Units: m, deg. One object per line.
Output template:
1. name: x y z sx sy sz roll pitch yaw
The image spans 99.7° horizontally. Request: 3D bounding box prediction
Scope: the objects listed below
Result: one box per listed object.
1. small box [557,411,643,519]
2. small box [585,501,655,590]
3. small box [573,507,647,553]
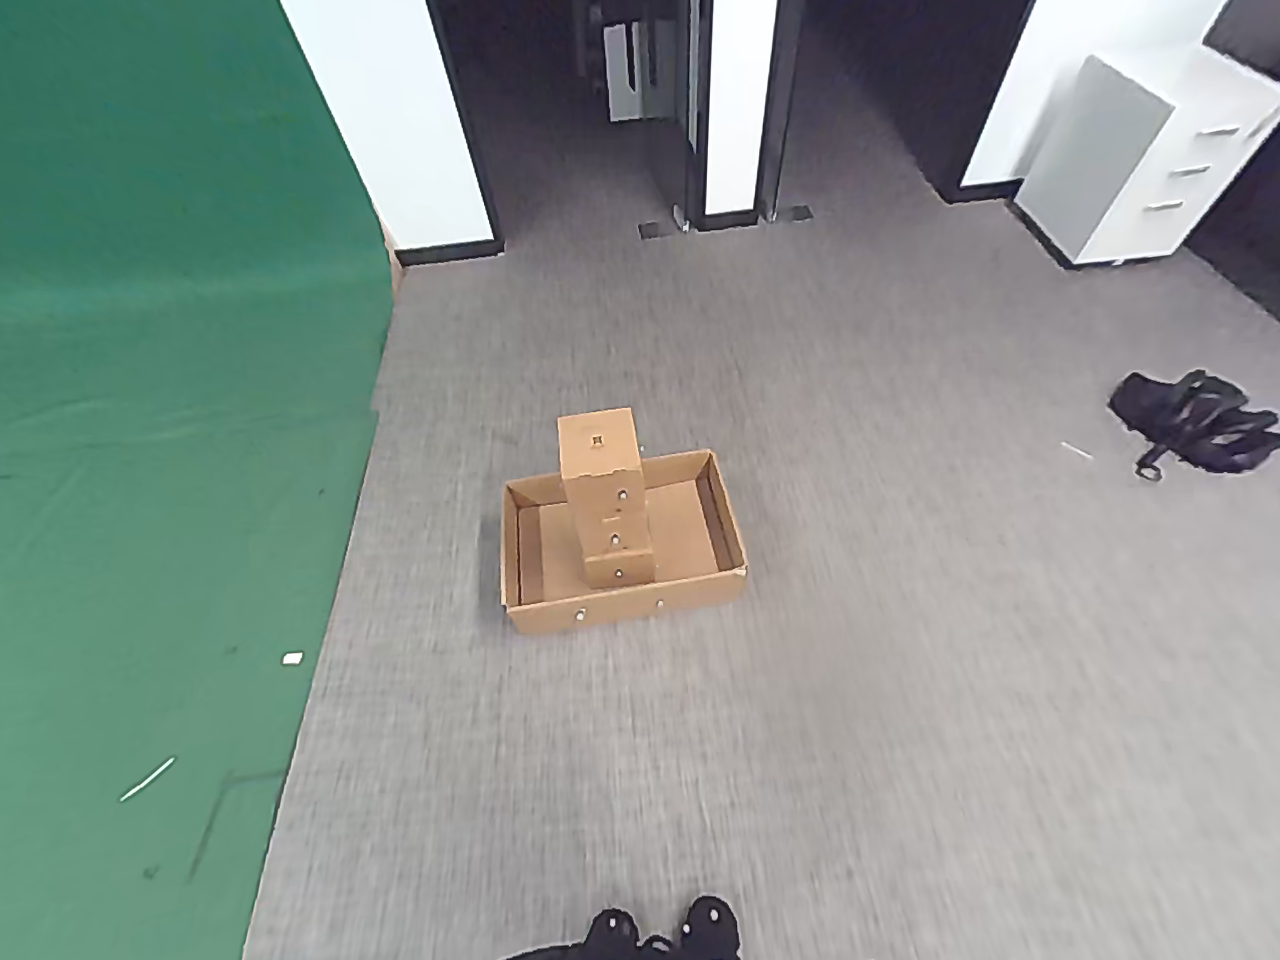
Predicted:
1. small box: -0.088 -0.026 1.210 0.168 0.176 0.179 -8 52 -3
2. small box: -0.057 0.179 1.461 0.179 0.176 0.168 -9 53 -3
3. small box: -0.076 0.069 1.342 0.168 0.176 0.179 -9 54 -2
